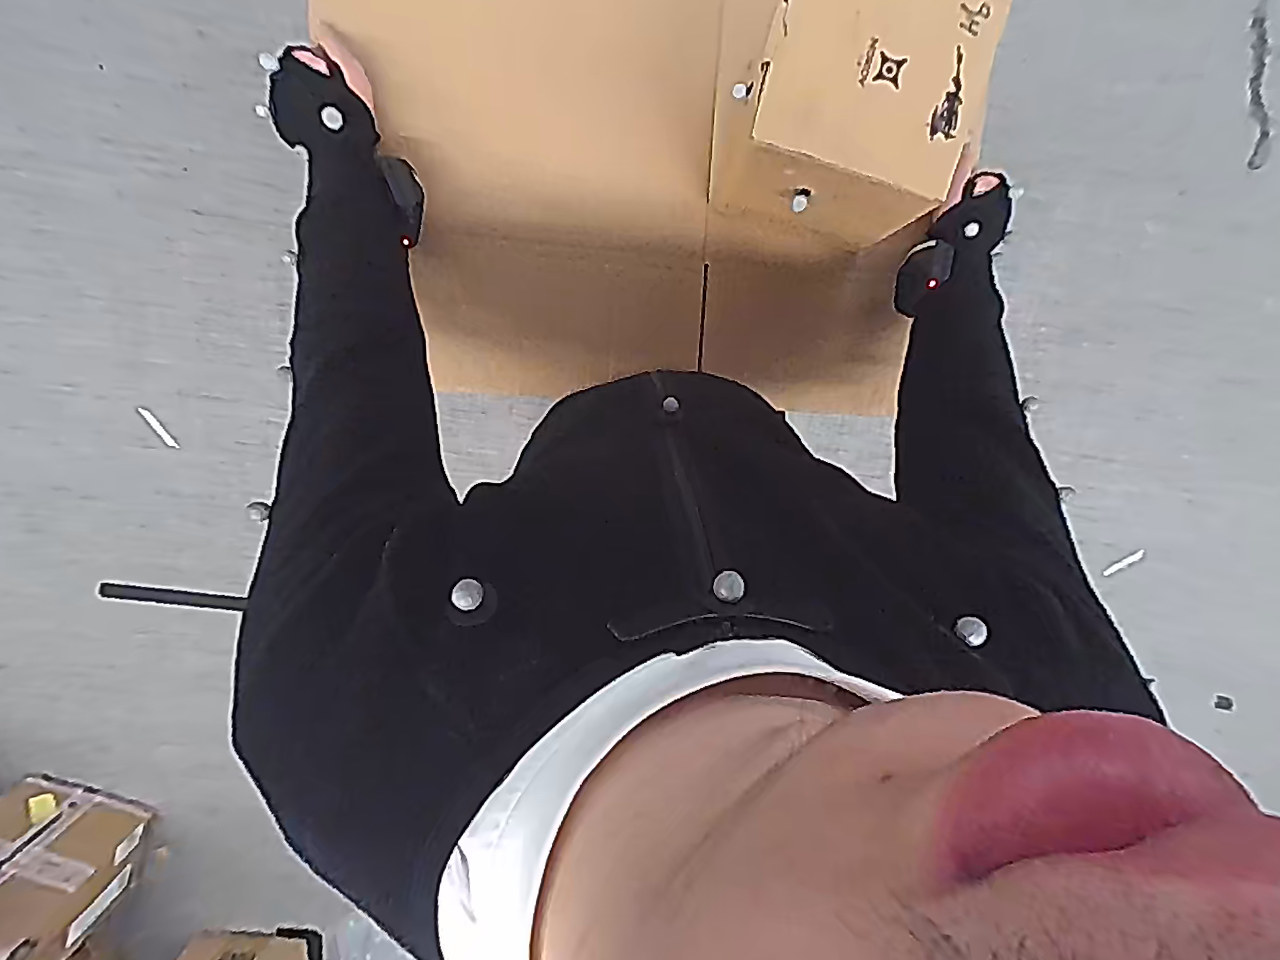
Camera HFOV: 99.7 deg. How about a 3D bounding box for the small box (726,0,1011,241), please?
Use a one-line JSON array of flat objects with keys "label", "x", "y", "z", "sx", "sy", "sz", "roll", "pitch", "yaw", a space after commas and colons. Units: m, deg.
[{"label": "small box", "x": 0.194, "y": -0.351, "z": 0.517, "sx": 0.179, "sy": 0.176, "sz": 0.168, "roll": 15, "pitch": 98, "yaw": -3}]
